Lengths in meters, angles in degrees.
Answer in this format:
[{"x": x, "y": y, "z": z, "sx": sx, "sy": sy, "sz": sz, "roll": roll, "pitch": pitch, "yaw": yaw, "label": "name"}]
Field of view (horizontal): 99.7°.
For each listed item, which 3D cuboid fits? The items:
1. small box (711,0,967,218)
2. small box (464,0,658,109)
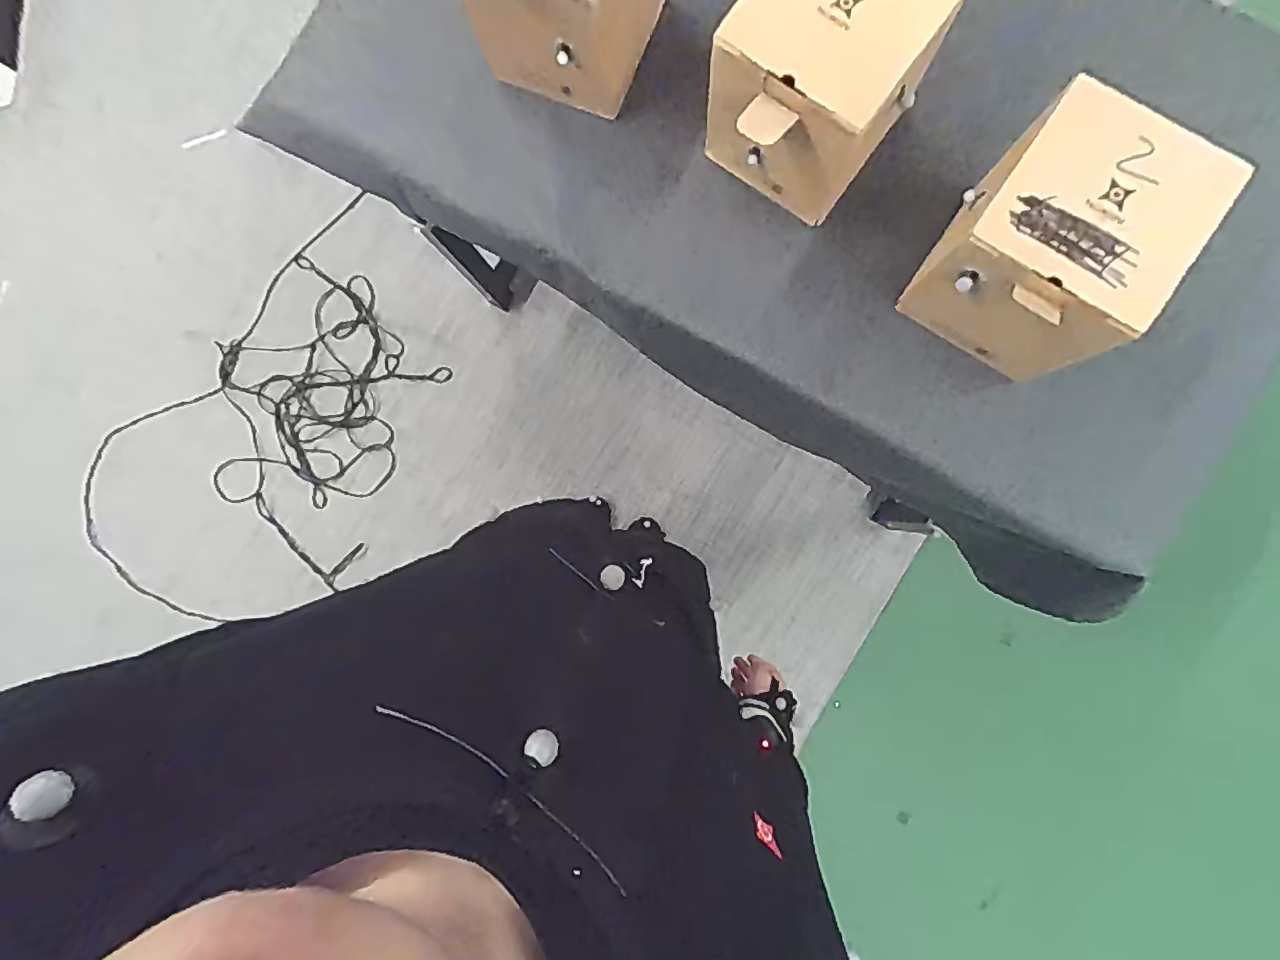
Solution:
[{"x": 0.186, "y": -0.418, "z": 0.554, "sx": 0.168, "sy": 0.176, "sz": 0.179, "roll": 36, "pitch": 91, "yaw": 4, "label": "small box"}, {"x": -0.081, "y": -0.551, "z": 0.578, "sx": 0.168, "sy": 0.176, "sz": 0.179, "roll": 22, "pitch": 88, "yaw": 3, "label": "small box"}]
